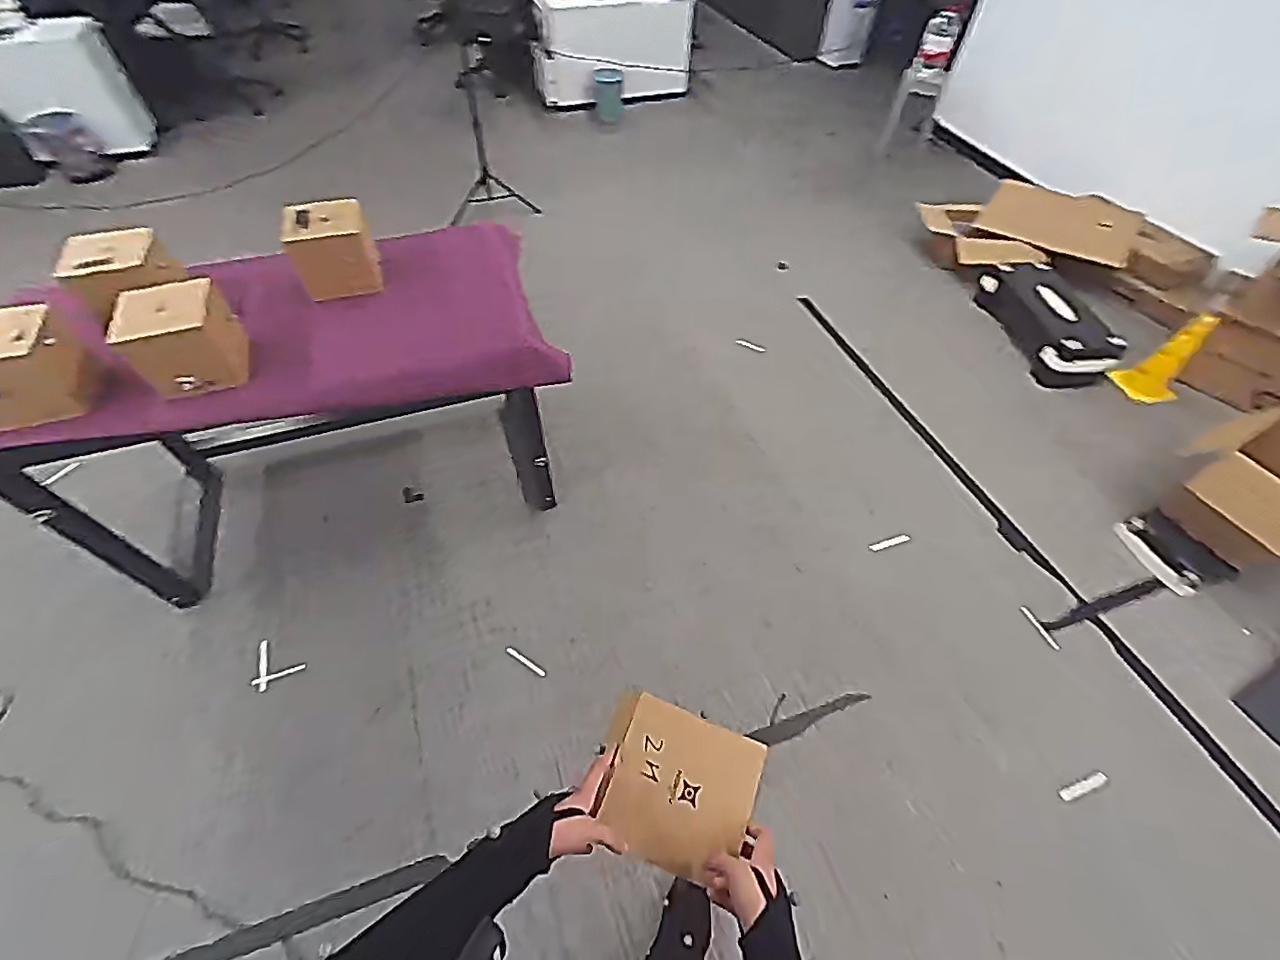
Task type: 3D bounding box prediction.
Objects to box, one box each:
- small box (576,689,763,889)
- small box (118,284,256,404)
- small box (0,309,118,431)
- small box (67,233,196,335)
[{"bbox_3d":[0.031,0.387,0.708,0.179,0.176,0.168,24,65,-1],"label":"small box"},{"bbox_3d":[-0.978,-0.297,1.188,0.168,0.176,0.179,-16,57,-13],"label":"small box"},{"bbox_3d":[-1.256,-0.223,1.120,0.179,0.176,0.168,-15,56,-12],"label":"small box"},{"bbox_3d":[-1.201,-0.461,1.302,0.168,0.176,0.179,-15,55,-13],"label":"small box"}]
